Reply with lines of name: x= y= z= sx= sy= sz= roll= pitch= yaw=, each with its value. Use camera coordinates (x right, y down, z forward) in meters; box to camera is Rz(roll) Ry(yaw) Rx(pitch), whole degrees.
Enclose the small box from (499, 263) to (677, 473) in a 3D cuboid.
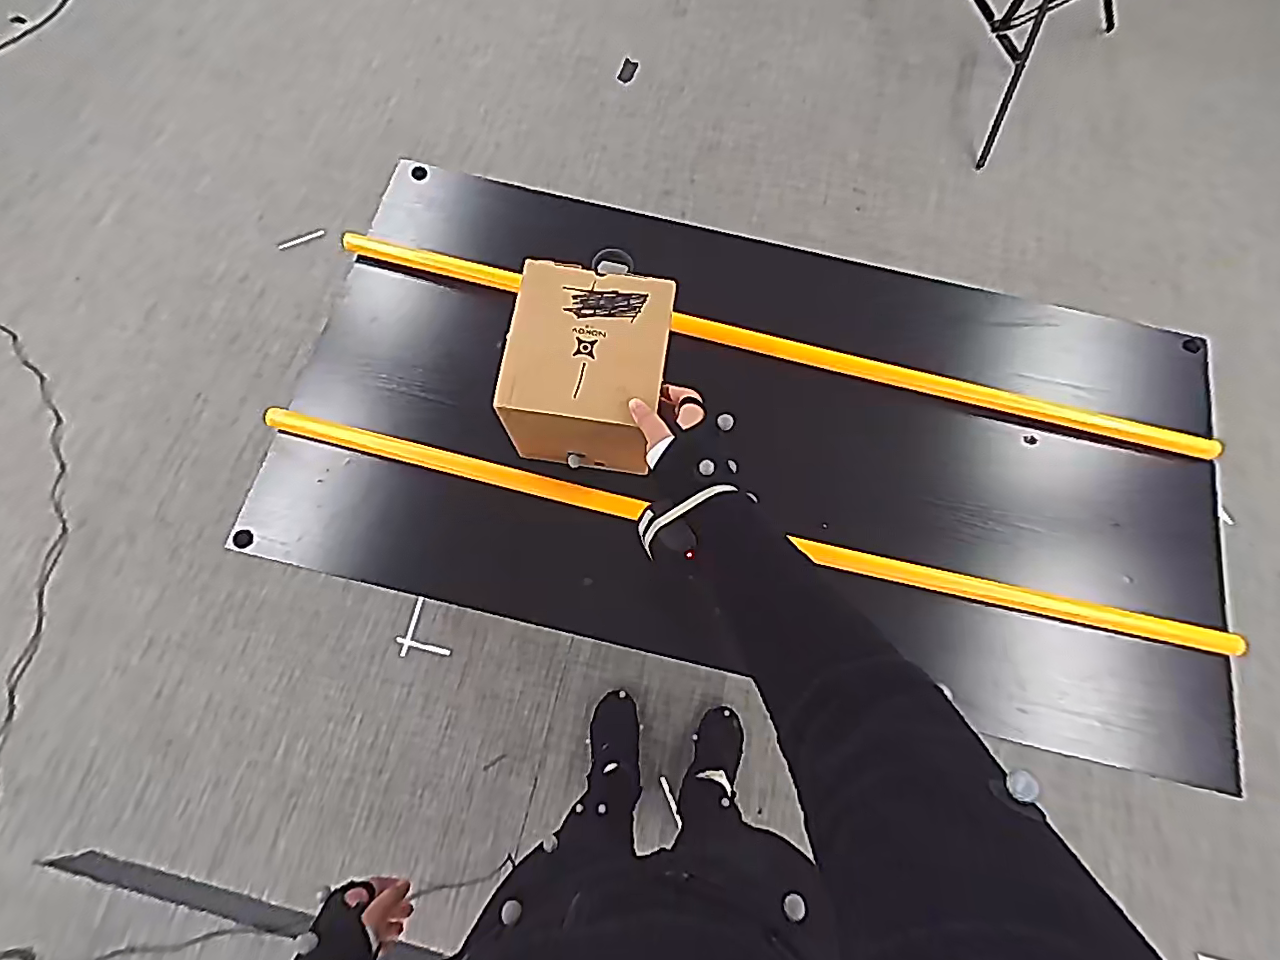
small box: x=-0.055 y=-0.123 z=0.646 sx=0.168 sy=0.176 sz=0.179 roll=8 pitch=75 yaw=0
